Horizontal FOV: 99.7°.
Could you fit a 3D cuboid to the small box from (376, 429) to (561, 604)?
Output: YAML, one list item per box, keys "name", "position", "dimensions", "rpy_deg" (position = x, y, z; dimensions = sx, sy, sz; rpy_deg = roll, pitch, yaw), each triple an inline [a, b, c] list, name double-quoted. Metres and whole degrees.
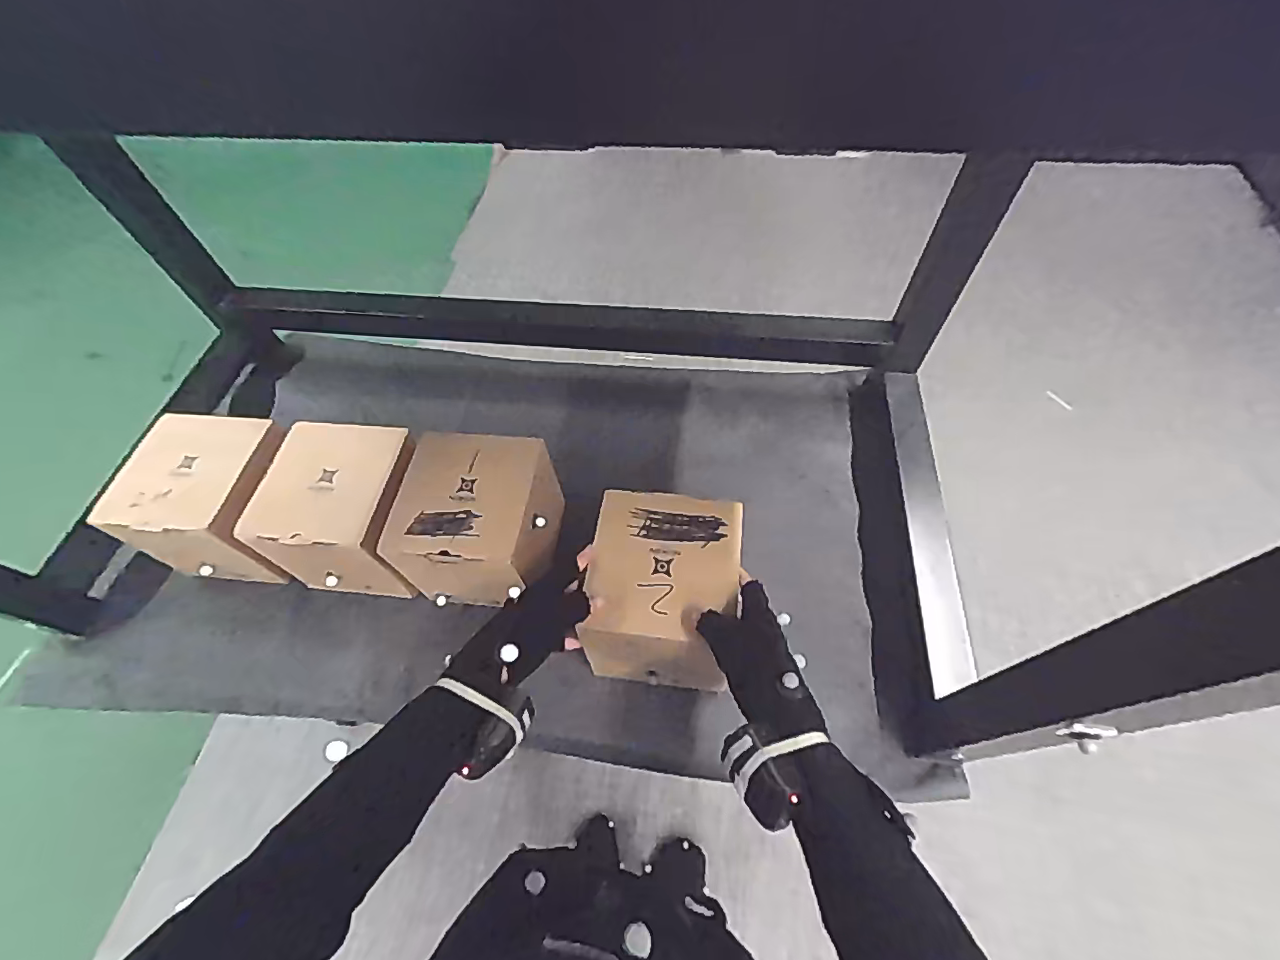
- name: "small box"
  position: [-0.211, 0.054, 0.726]
  dimensions: [0.168, 0.176, 0.179]
  rpy_deg: [4, 57, 6]

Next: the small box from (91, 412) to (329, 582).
- name: "small box"
  position: [-0.582, 0.027, 0.767]
  dimensions: [0.168, 0.176, 0.179]
  rpy_deg: [3, 58, 6]
